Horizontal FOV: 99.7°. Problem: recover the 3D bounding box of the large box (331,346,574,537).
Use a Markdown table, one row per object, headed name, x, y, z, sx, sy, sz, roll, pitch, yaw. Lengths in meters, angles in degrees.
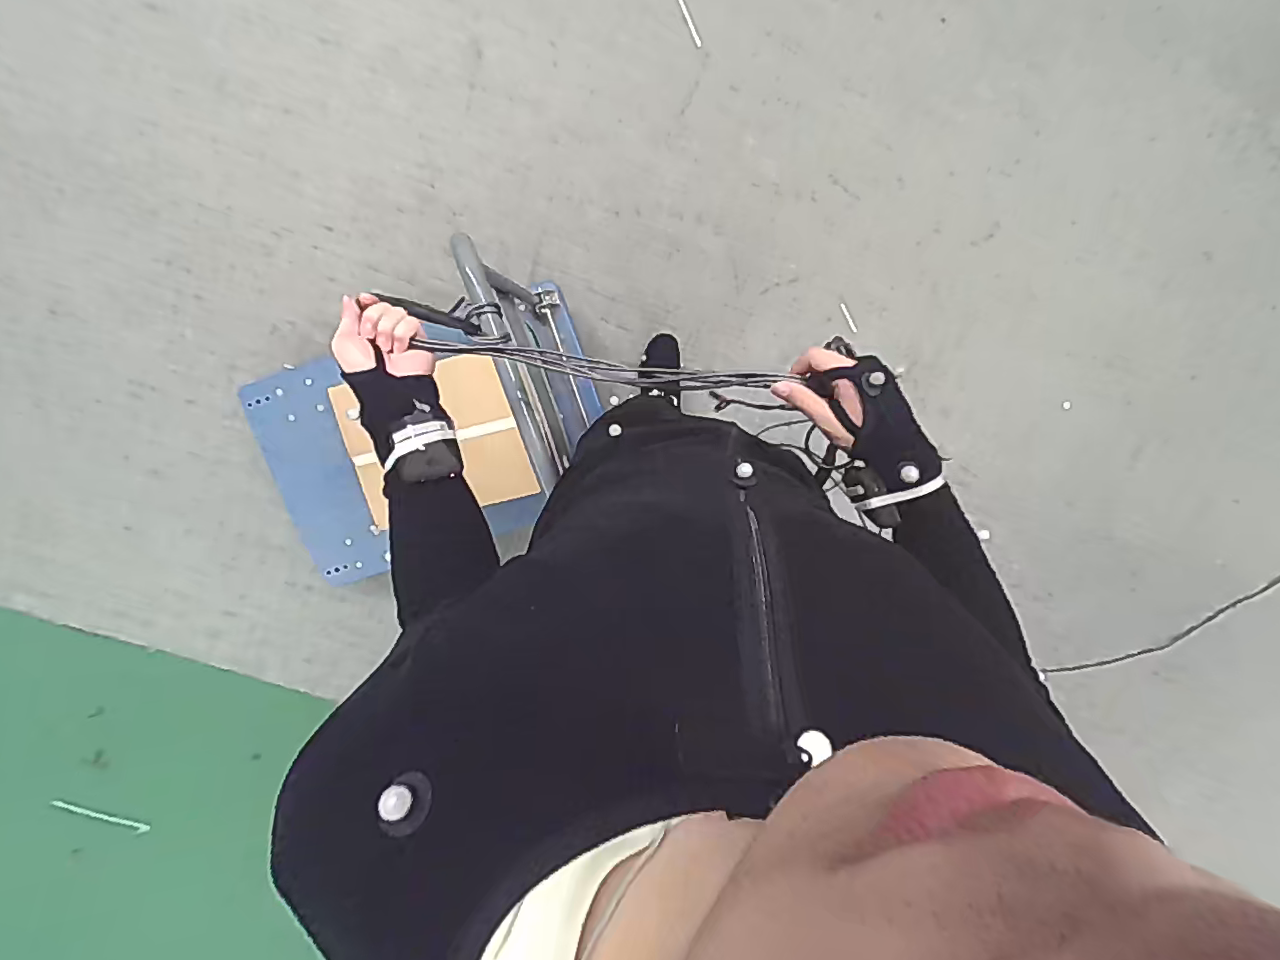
| name | x | y | z | sx | sy | sz | roll | pitch | yaw |
| --- | --- | --- | --- | --- | --- | --- | --- | --- | --- |
| large box | -0.395 | -0.104 | 1.251 | 0.408 | 0.320 | 0.320 | -14 | 101 | 1 |
